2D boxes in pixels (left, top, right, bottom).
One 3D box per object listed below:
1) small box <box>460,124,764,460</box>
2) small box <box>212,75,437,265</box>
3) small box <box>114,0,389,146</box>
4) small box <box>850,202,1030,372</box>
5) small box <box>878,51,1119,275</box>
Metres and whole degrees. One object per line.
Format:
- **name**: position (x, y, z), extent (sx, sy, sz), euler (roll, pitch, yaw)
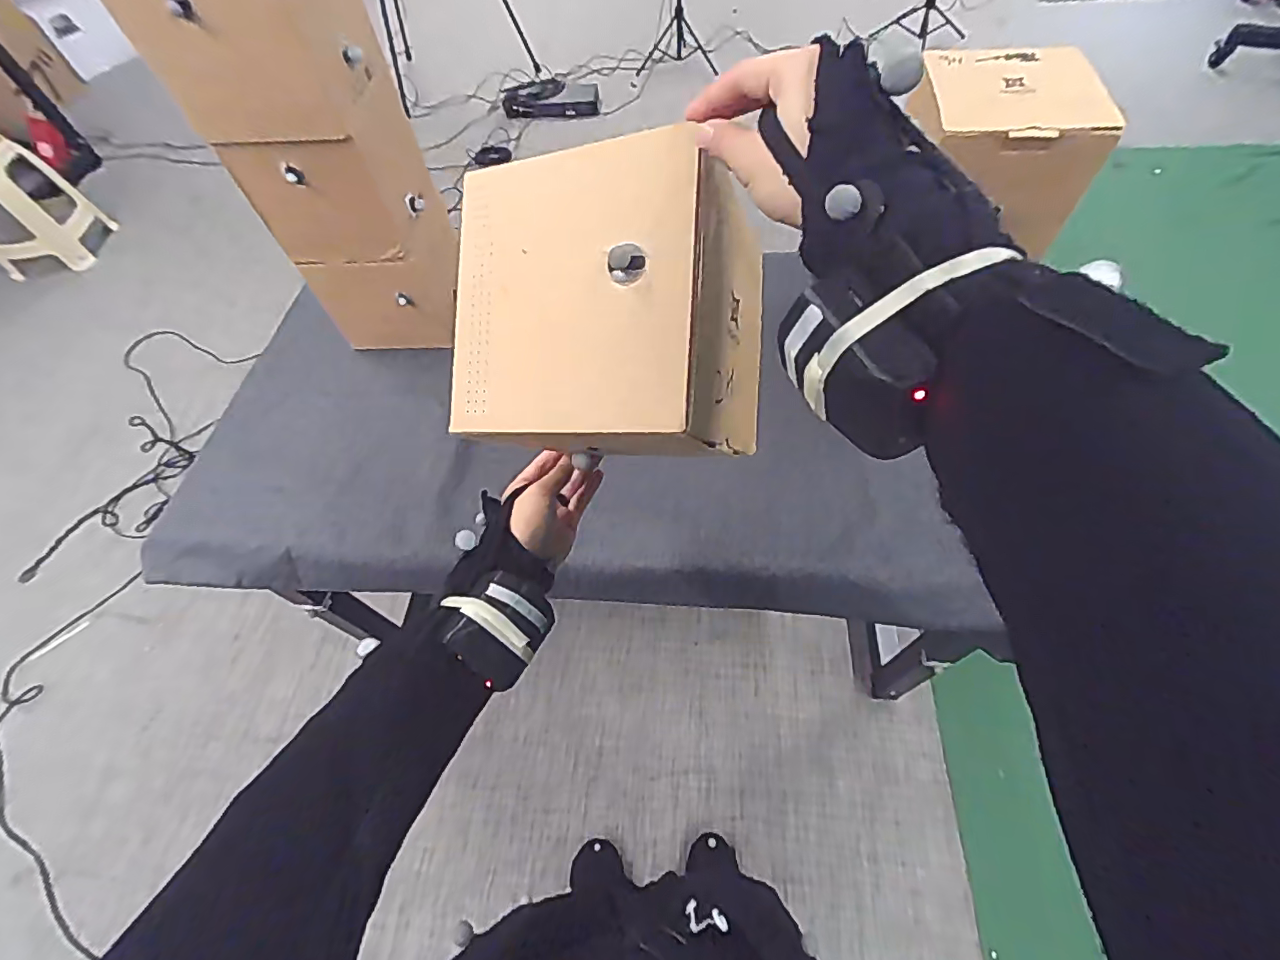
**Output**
- **small box**: position (-0.011, -0.109, 0.396), extent (0.176, 0.168, 0.179), euler (3, 88, 24)
- **small box**: position (-0.402, -0.409, 0.726), extent (0.179, 0.176, 0.168), euler (-1, 60, 2)
- **small box**: position (-0.408, -0.486, 0.581), extent (0.179, 0.176, 0.168), euler (1, 60, 4)
- **small box**: position (0.408, -0.280, 0.774), extent (0.168, 0.176, 0.179), euler (4, 60, 7)
- **small box**: position (0.393, -0.361, 0.633), extent (0.168, 0.176, 0.179), euler (5, 60, 7)
